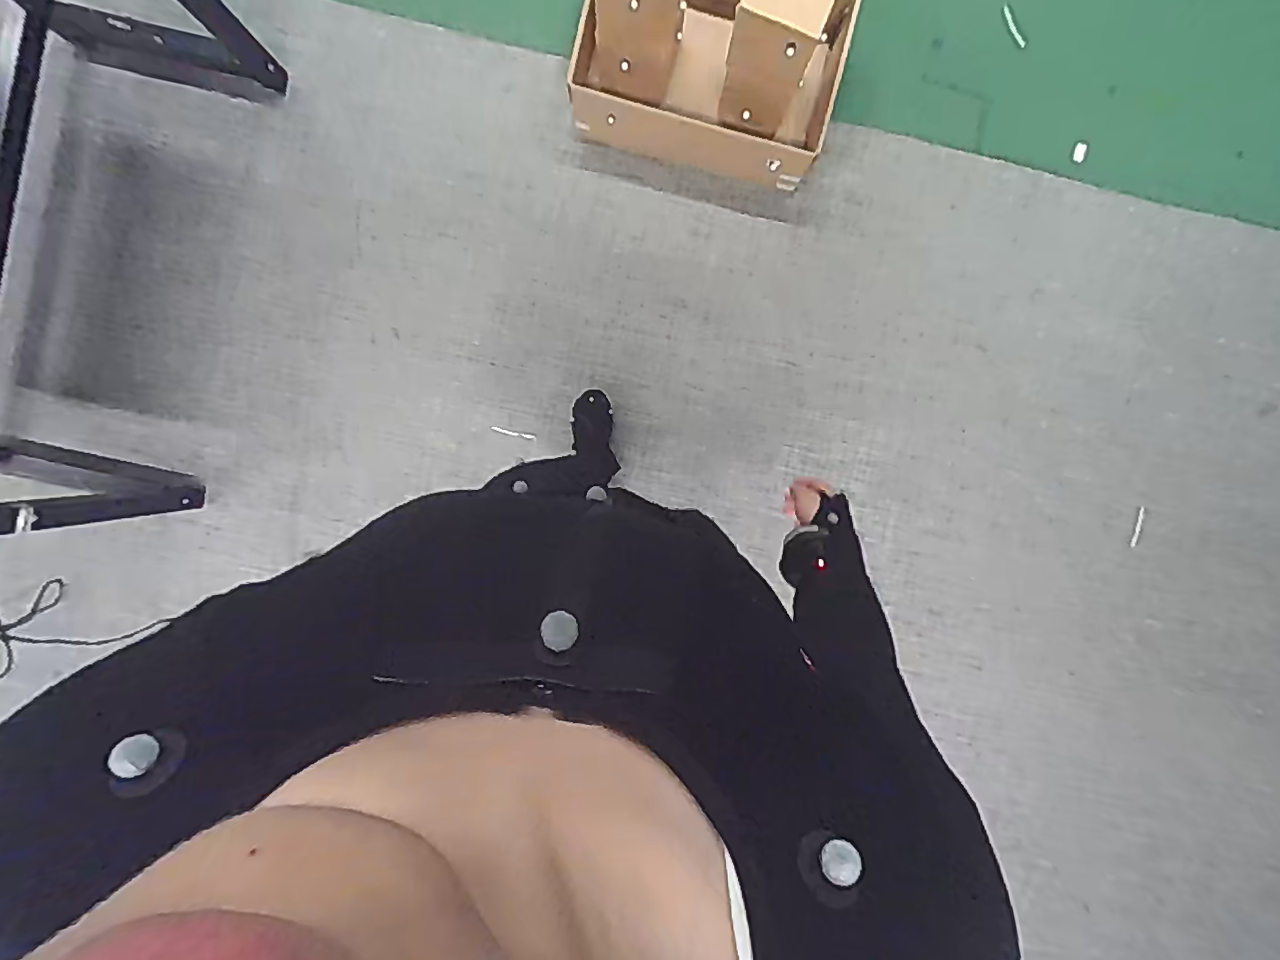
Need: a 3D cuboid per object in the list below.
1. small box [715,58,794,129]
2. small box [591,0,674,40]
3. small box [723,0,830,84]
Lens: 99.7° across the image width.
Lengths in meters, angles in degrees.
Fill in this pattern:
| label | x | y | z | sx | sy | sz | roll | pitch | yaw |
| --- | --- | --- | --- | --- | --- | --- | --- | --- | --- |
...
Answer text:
| label | x | y | z | sx | sy | sz | roll | pitch | yaw |
| --- | --- | --- | --- | --- | --- | --- | --- | --- | --- |
| small box | 0.290 | -0.997 | 1.295 | 0.168 | 0.176 | 0.179 | 21 | 94 | -2 |
| small box | -0.011 | -1.058 | 1.116 | 0.179 | 0.176 | 0.168 | 5 | 95 | -4 |
| small box | 0.292 | -0.981 | 1.131 | 0.179 | 0.176 | 0.168 | 22 | 93 | -2 |
